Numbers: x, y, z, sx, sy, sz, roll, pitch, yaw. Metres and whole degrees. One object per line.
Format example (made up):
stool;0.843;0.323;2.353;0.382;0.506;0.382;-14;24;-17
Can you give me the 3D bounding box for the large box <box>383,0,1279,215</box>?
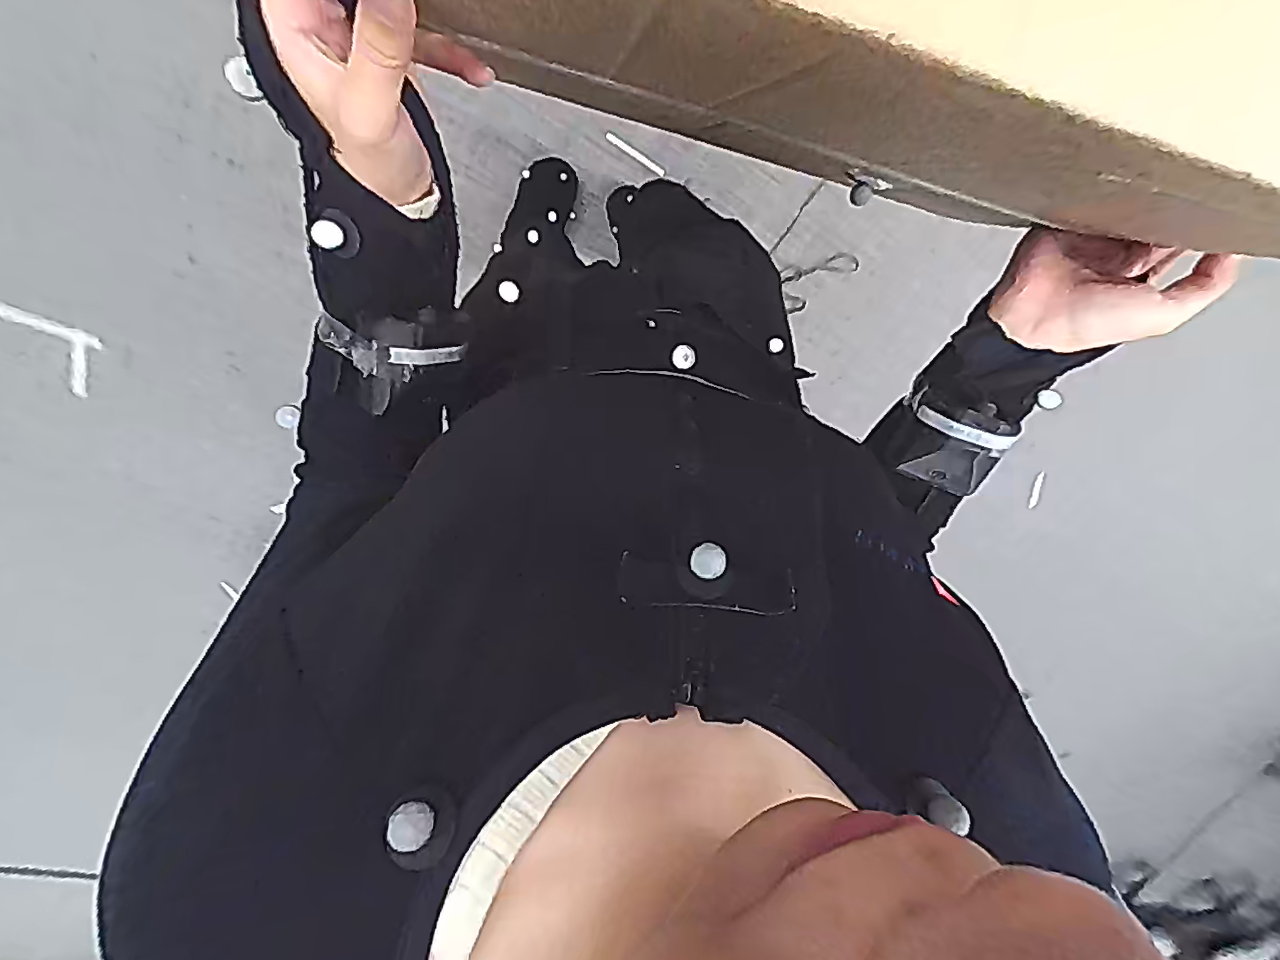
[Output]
large box;0.110;-0.312;0.191;0.408;0.320;0.320;6;120;-13
